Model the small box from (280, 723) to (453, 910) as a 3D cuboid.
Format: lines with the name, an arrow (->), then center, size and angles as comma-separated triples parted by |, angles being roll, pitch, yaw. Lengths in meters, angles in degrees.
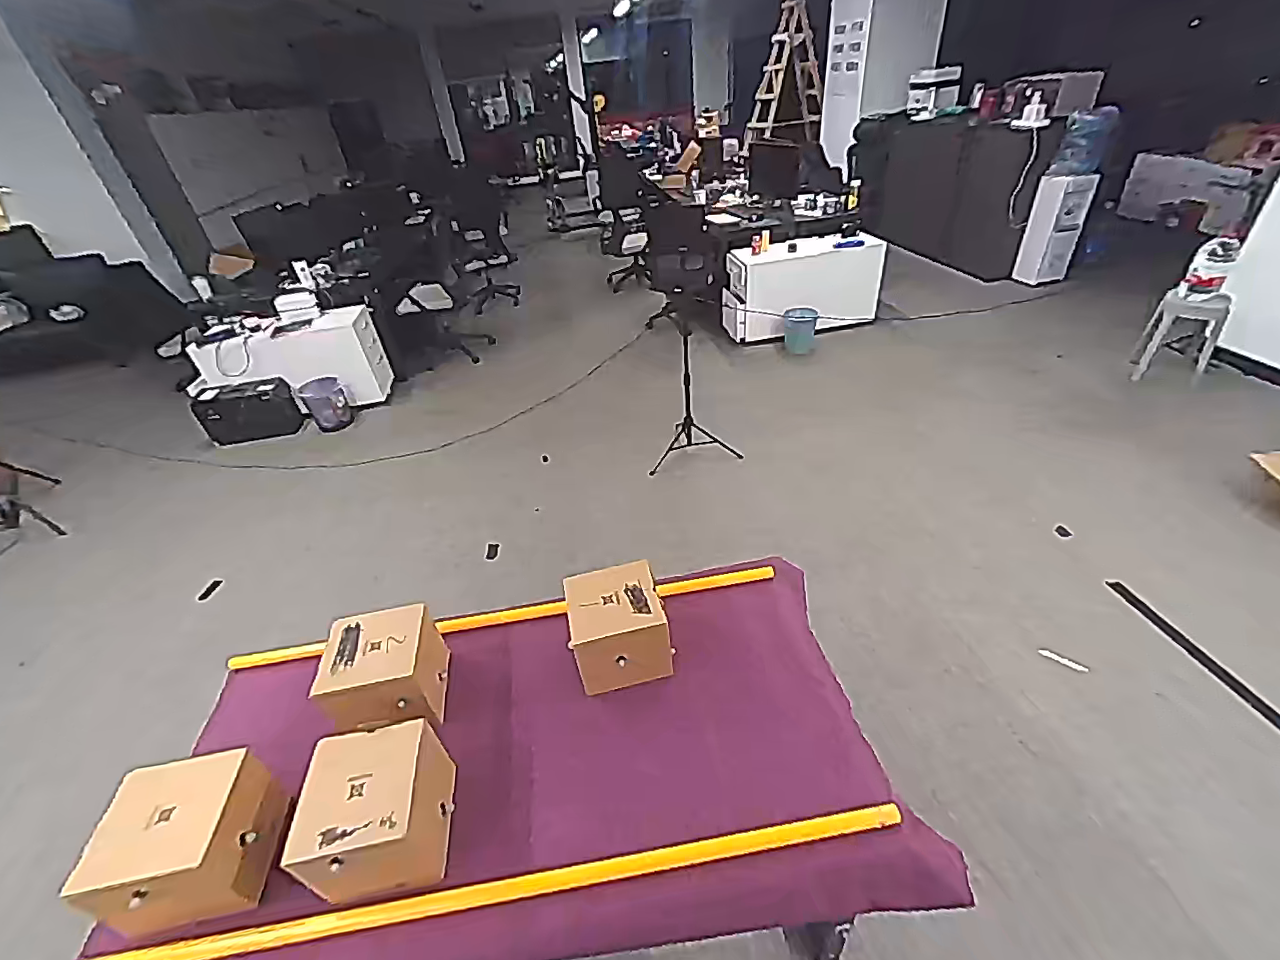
small box -> -0.395, 0.508, 0.823 | 0.168, 0.176, 0.179 | -10, 36, -4

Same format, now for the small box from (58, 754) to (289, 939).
small box -> -0.672, 0.549, 0.813 | 0.179, 0.176, 0.168 | -10, 36, -6

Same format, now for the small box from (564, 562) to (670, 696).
small box -> -0.042, 0.292, 1.057 | 0.179, 0.176, 0.168 | -13, 37, -6
